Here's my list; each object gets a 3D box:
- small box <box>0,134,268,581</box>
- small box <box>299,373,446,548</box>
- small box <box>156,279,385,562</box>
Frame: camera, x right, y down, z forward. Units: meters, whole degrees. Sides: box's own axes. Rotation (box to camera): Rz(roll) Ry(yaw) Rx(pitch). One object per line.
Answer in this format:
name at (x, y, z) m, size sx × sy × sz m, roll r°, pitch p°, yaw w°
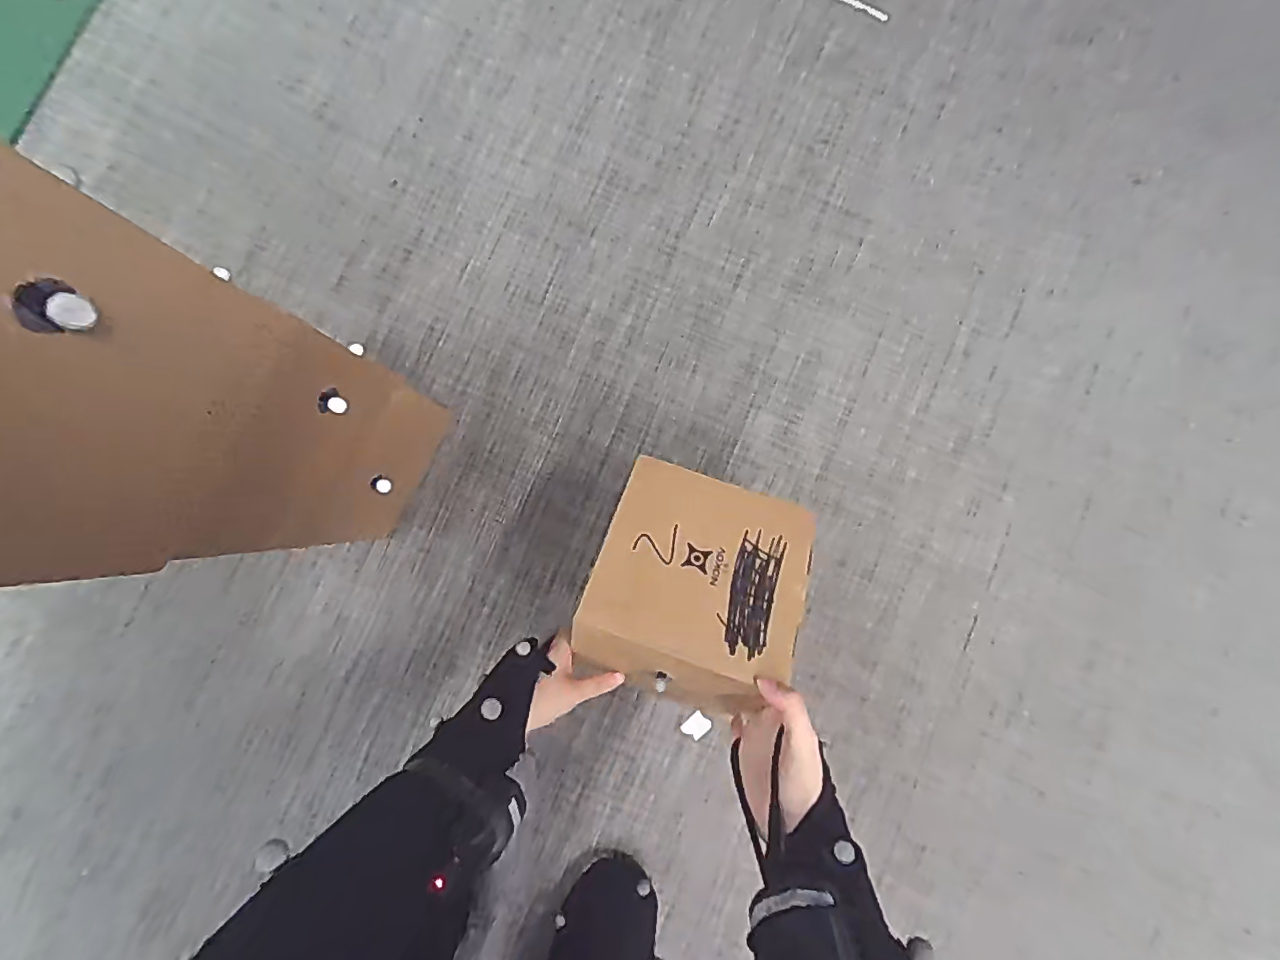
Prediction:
small box at (-0.326, -0.064, 0.254) m, size 0.168 × 0.176 × 0.179 m, roll 24°, pitch 85°, yaw 2°
small box at (-0.338, -0.044, 0.581) m, size 0.168 × 0.176 × 0.179 m, roll 27°, pitch 86°, yaw 1°
small box at (-0.331, -0.054, 0.419) m, size 0.168 × 0.176 × 0.179 m, roll 24°, pitch 86°, yaw 1°
